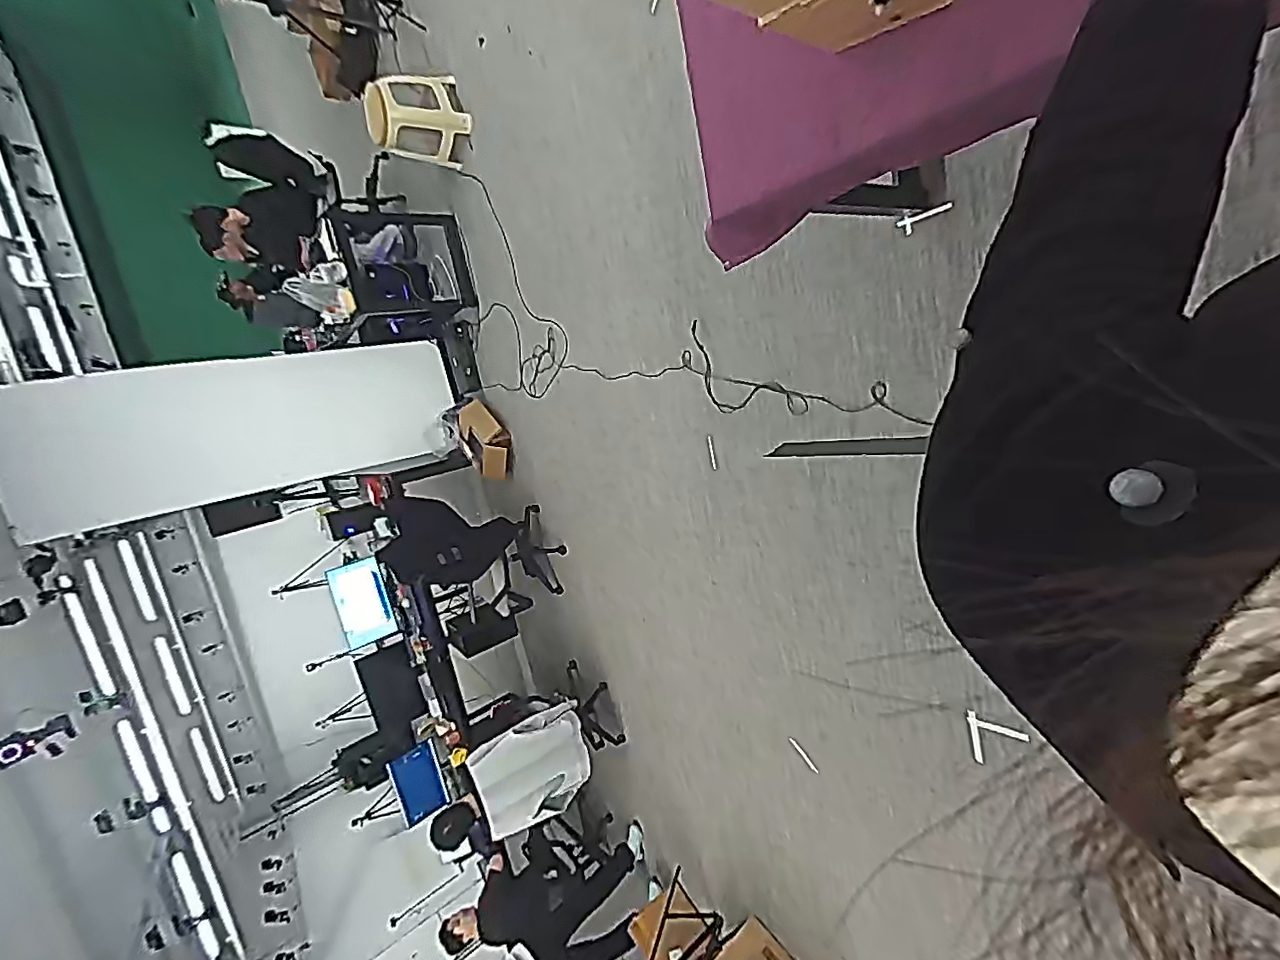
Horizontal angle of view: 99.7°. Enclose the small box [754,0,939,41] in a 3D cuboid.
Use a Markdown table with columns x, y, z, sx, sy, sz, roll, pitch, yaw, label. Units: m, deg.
| x | y | z | sx | sy | sz | roll | pitch | yaw | label |
| --- | --- | --- | --- | --- | --- | --- | --- | --- | --- |
| 0.248 | -0.642 | 0.621 | 0.168 | 0.176 | 0.179 | 18 | 119 | 47 | small box |
